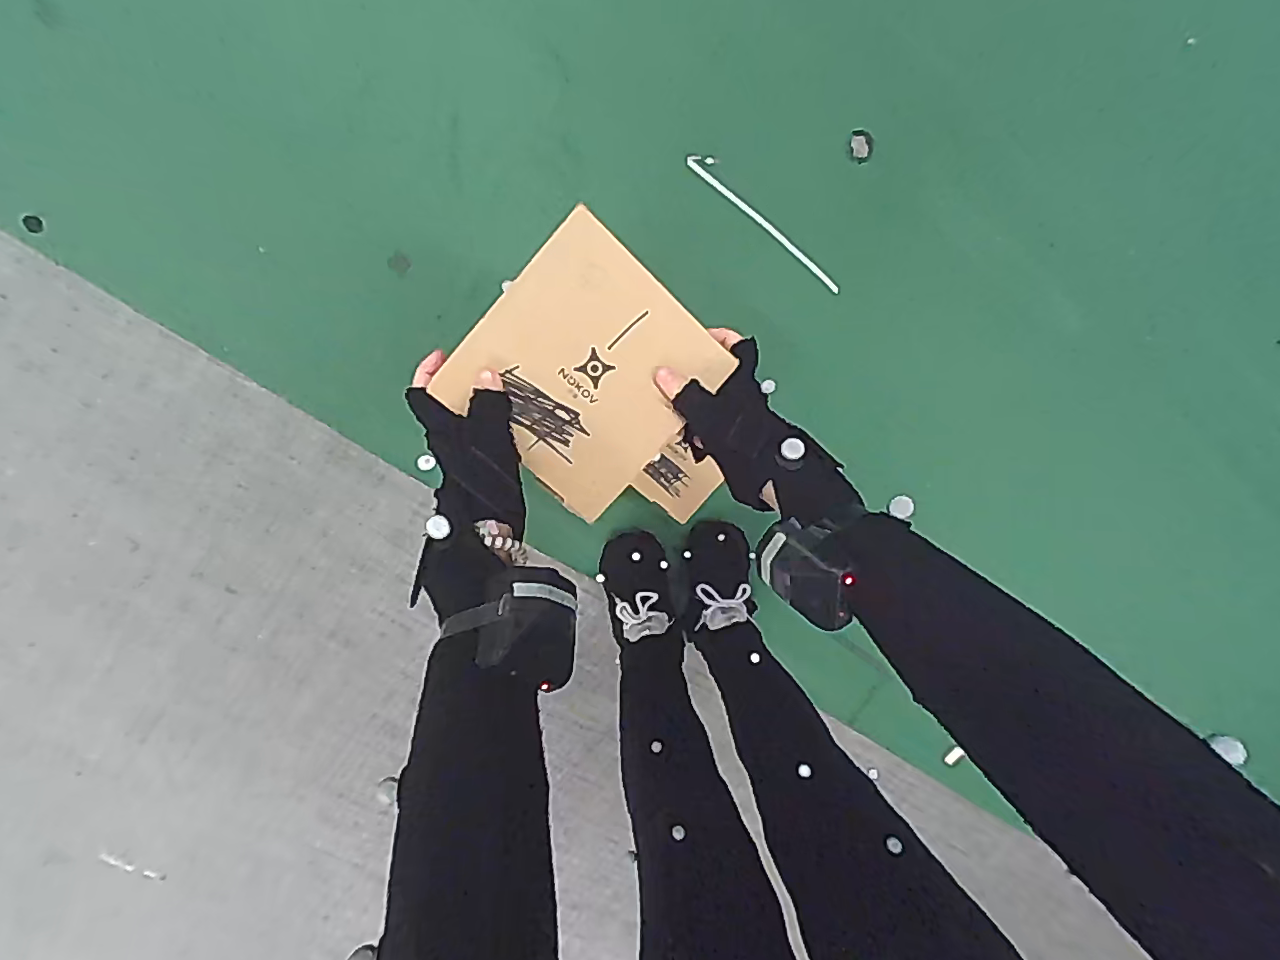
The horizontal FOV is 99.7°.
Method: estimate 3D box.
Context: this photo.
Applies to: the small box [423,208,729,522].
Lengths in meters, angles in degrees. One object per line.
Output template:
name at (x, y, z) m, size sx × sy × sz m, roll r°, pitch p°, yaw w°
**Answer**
small box at (-0.053, -0.097, 0.483) m, size 0.168 × 0.176 × 0.179 m, roll 41°, pitch 96°, yaw -14°
